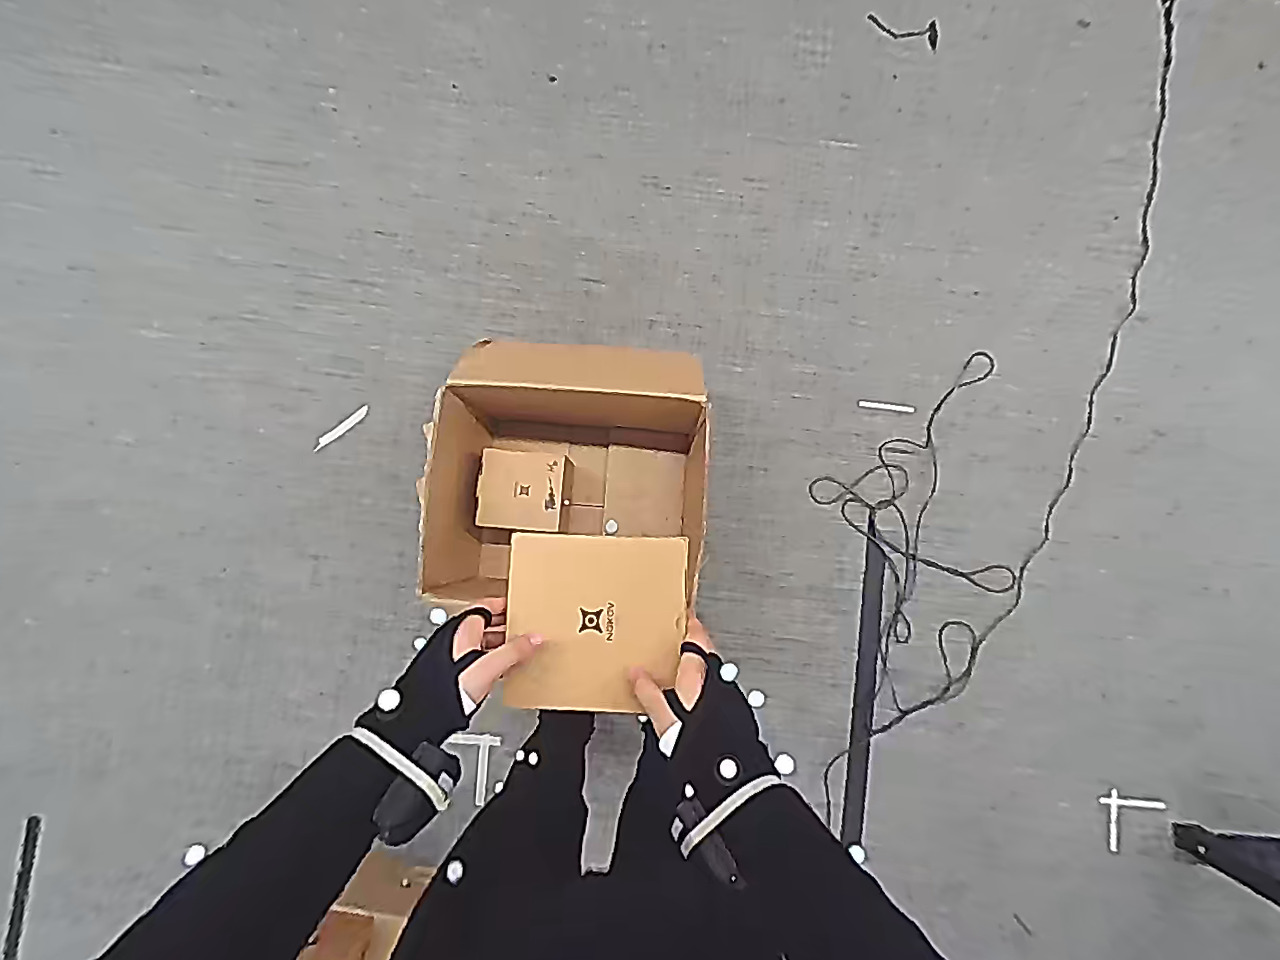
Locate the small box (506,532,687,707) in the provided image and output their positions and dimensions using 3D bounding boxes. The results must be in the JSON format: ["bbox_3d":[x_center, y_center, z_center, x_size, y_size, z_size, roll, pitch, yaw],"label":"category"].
[{"bbox_3d":[-0.039,0.149,0.614,0.179,0.176,0.168,1,81,1],"label":"small box"}]
